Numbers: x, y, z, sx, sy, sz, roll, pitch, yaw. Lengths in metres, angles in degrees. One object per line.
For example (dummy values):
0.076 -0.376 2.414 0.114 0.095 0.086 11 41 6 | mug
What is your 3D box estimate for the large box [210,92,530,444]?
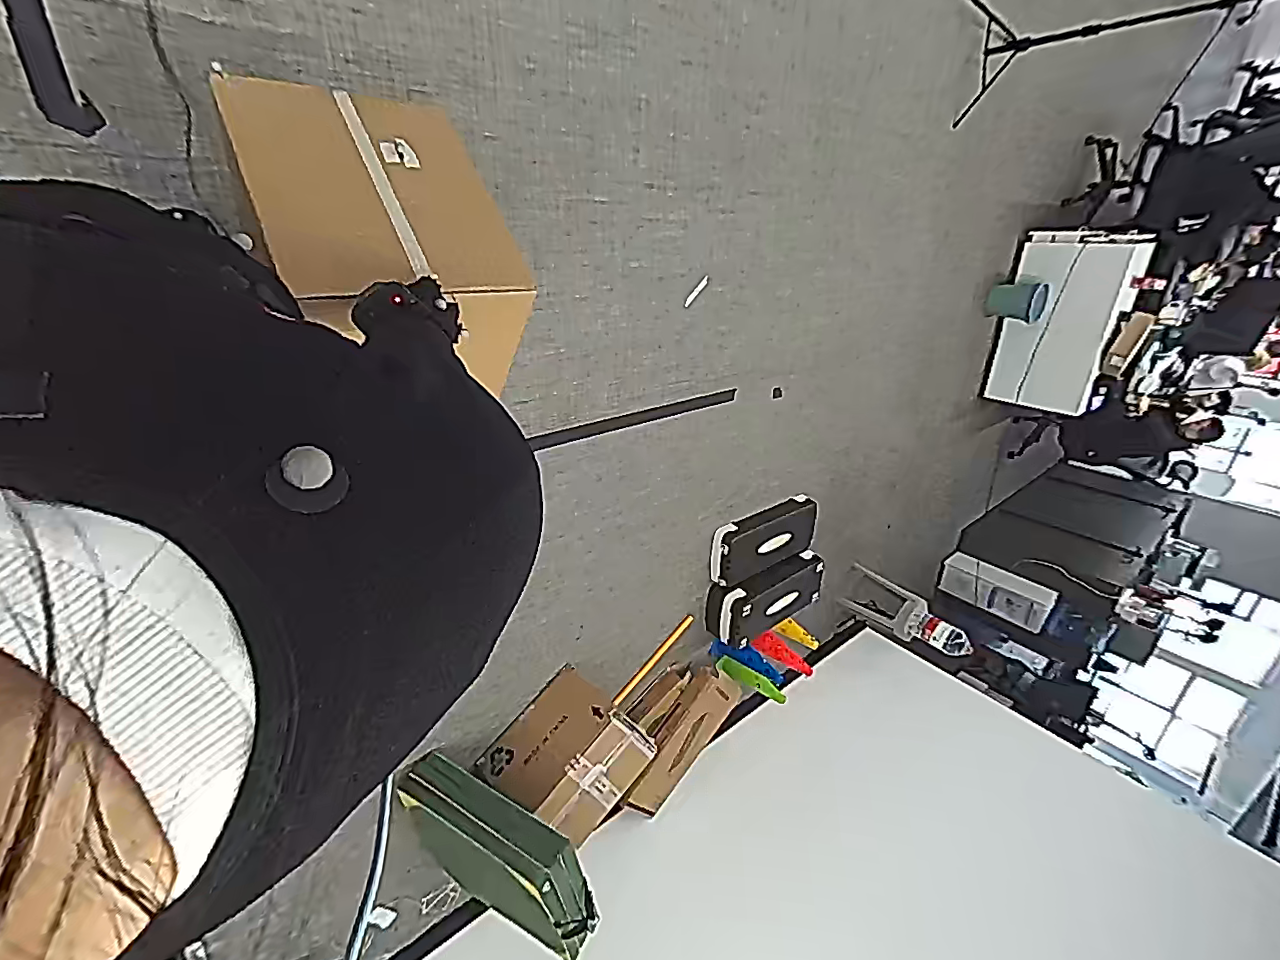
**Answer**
-0.430 -0.326 0.876 0.320 0.408 0.320 -17 159 -36 | large box
